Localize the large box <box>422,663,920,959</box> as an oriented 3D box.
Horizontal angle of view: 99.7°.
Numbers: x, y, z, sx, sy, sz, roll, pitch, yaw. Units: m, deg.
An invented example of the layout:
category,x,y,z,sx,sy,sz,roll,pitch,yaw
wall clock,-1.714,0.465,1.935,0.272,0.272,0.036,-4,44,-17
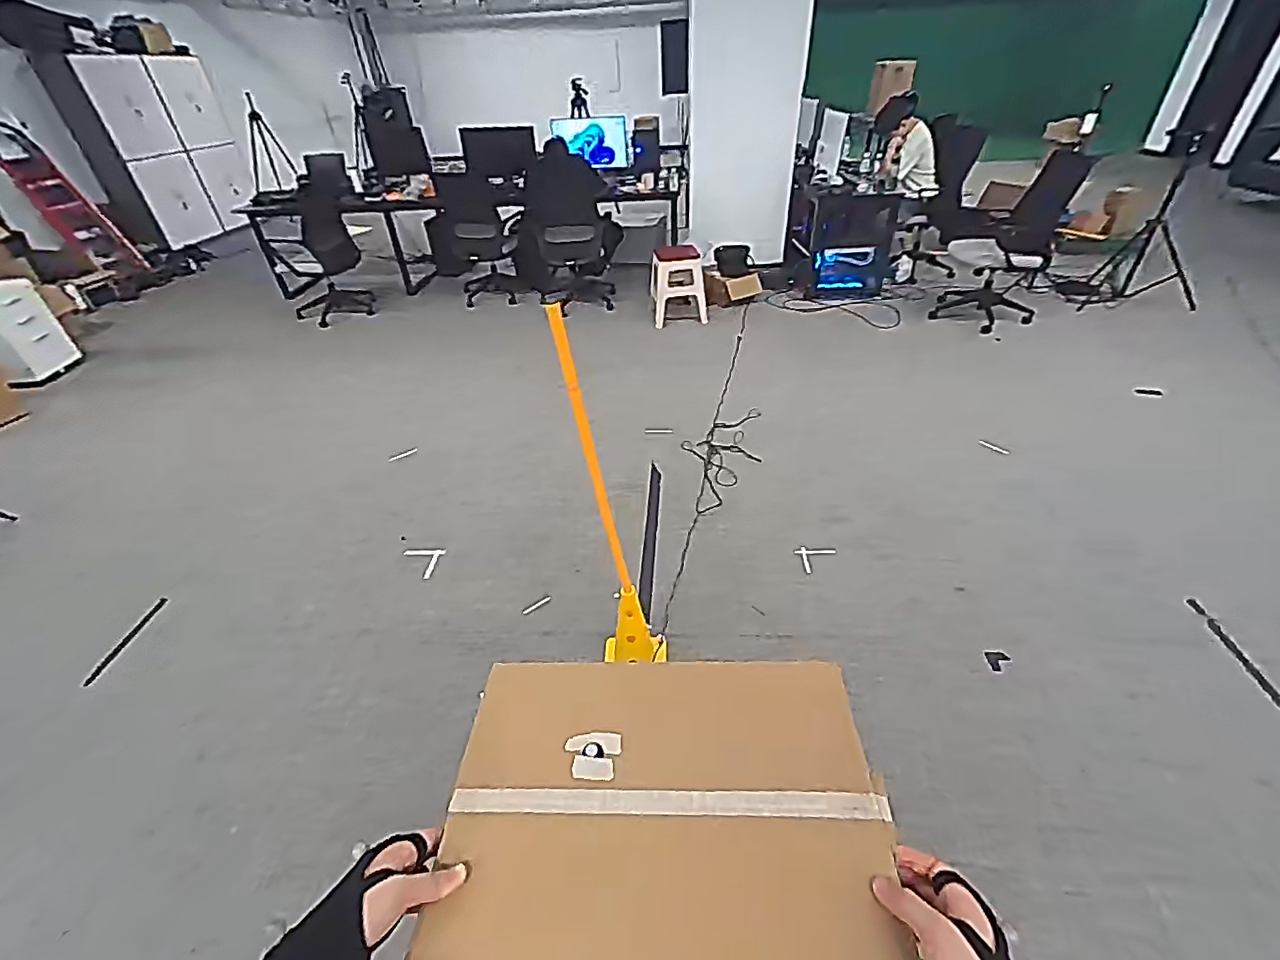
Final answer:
category,x,y,z,sx,sy,sz,roll,pitch,yaw
large box,0.040,0.433,0.606,0.408,0.320,0.320,-3,36,6
